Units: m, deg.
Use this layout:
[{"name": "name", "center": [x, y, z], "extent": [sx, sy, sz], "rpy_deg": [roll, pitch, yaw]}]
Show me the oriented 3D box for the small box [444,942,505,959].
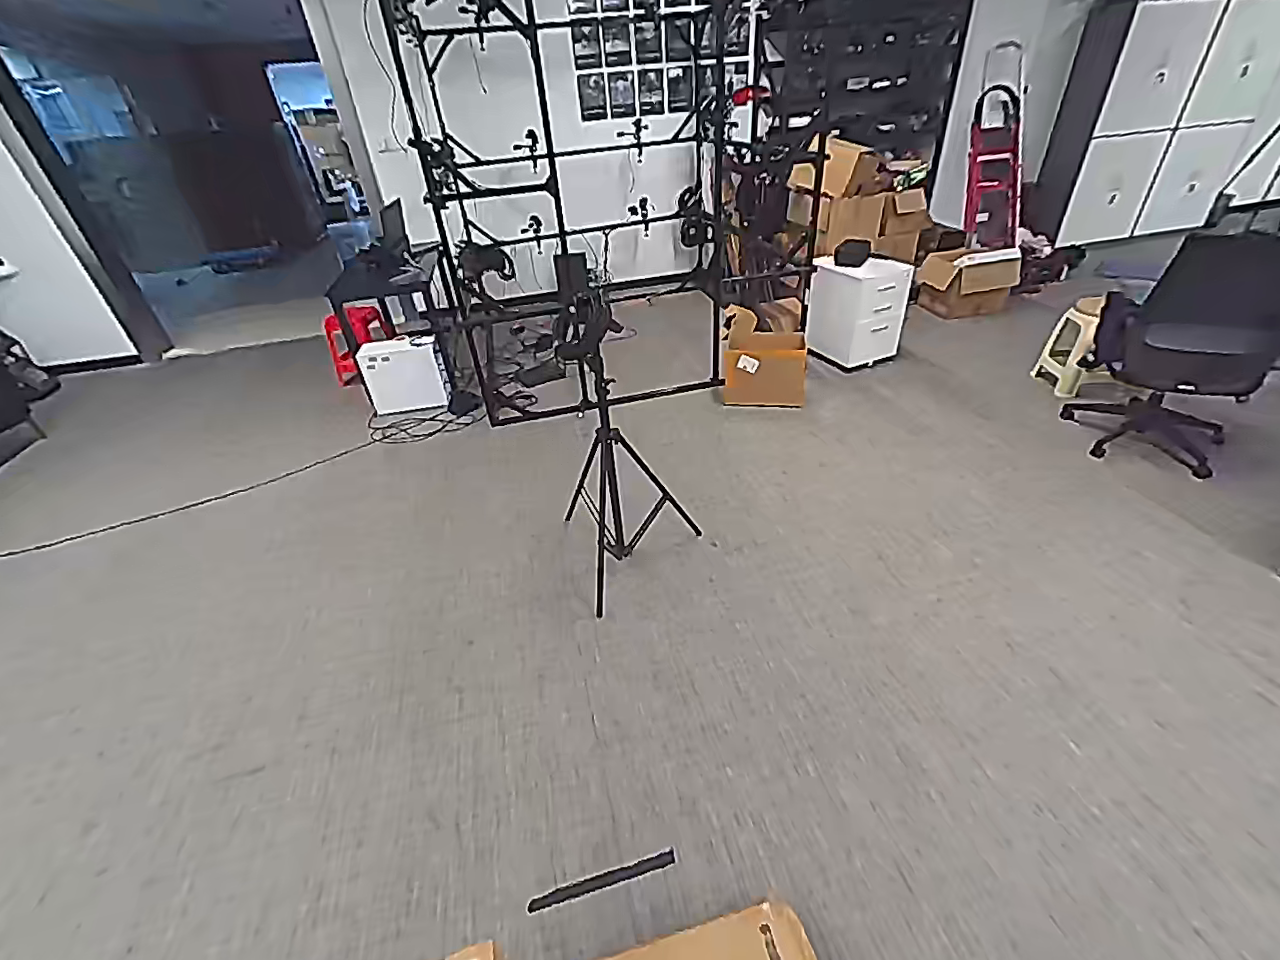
[{"name": "small box", "center": [-0.284, 0.882, 0.844], "extent": [0.168, 0.176, 0.179], "rpy_deg": [-13, 35, -11]}]
